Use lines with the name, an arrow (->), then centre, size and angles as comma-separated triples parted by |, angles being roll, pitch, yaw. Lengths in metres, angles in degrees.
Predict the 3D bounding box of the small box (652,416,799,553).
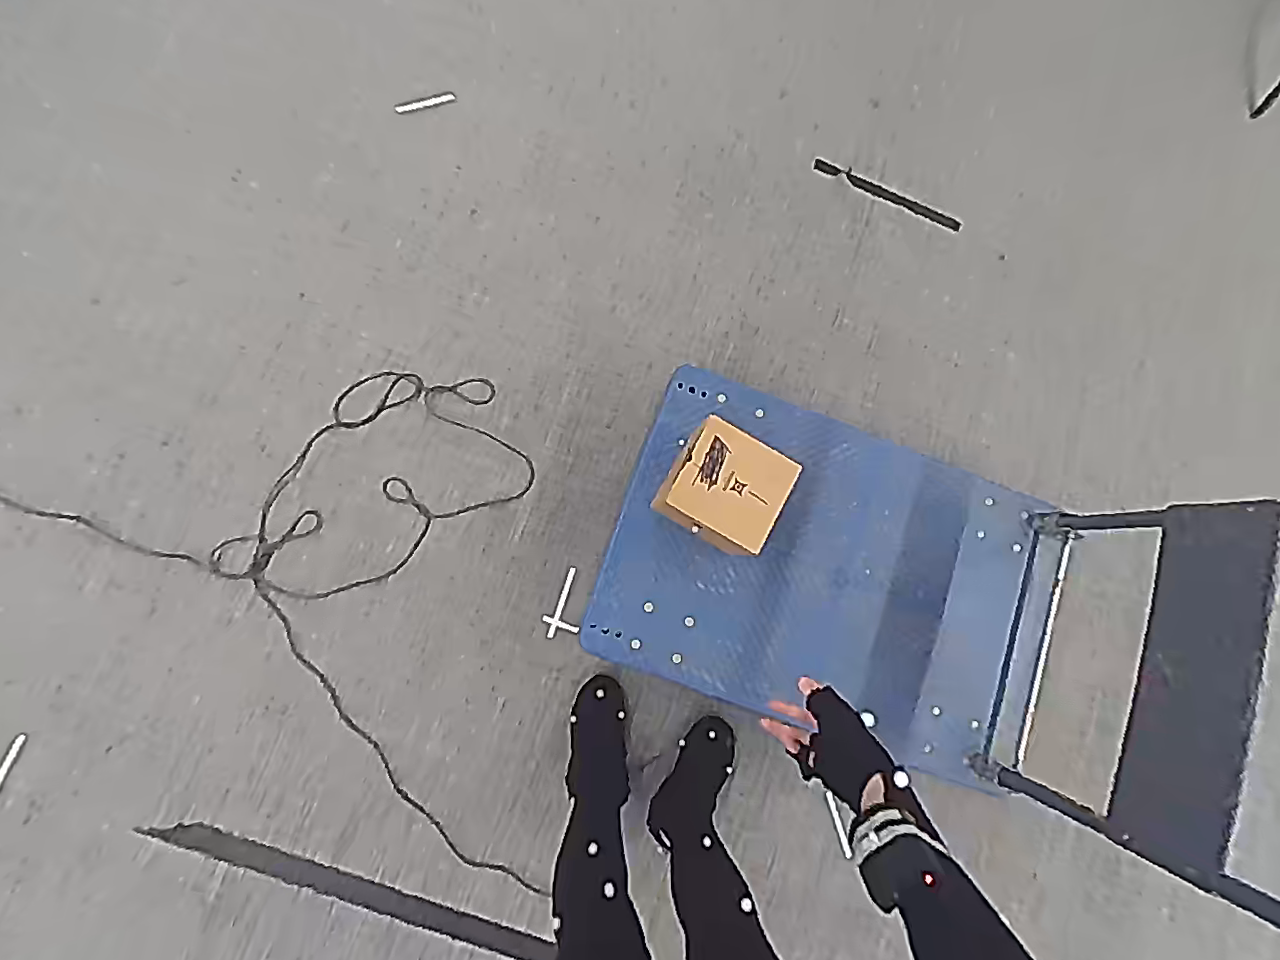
small box -> 0.137, 0.017, 0.944 | 0.179, 0.176, 0.168 | 30, 81, -2
